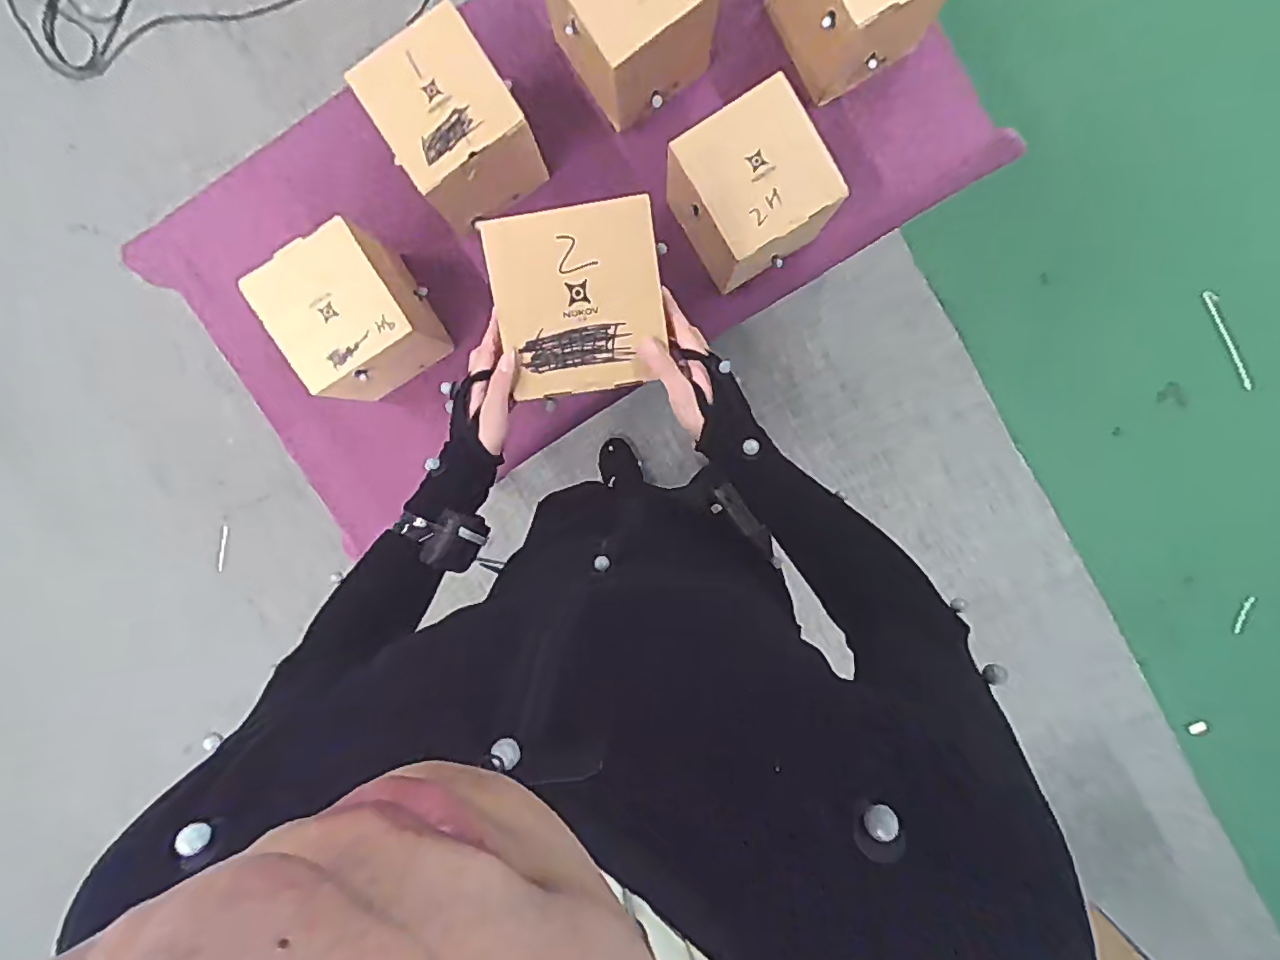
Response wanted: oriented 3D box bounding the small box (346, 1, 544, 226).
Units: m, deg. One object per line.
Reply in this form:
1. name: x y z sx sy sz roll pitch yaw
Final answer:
1. small box: -0.256 -0.488 0.760 0.168 0.176 0.179 -33 93 3

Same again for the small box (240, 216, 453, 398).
1. small box: -0.408 -0.234 0.783 0.168 0.176 0.179 -31 94 5

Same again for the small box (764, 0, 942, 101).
1. small box: 0.291 -0.678 0.737 0.168 0.176 0.179 -29 97 2

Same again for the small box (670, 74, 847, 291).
1. small box: 0.151 -0.400 0.761 0.168 0.176 0.179 -31 92 4

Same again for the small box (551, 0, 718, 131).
1. small box: -0.015 -0.639 0.745 0.168 0.176 0.179 -34 95 4
